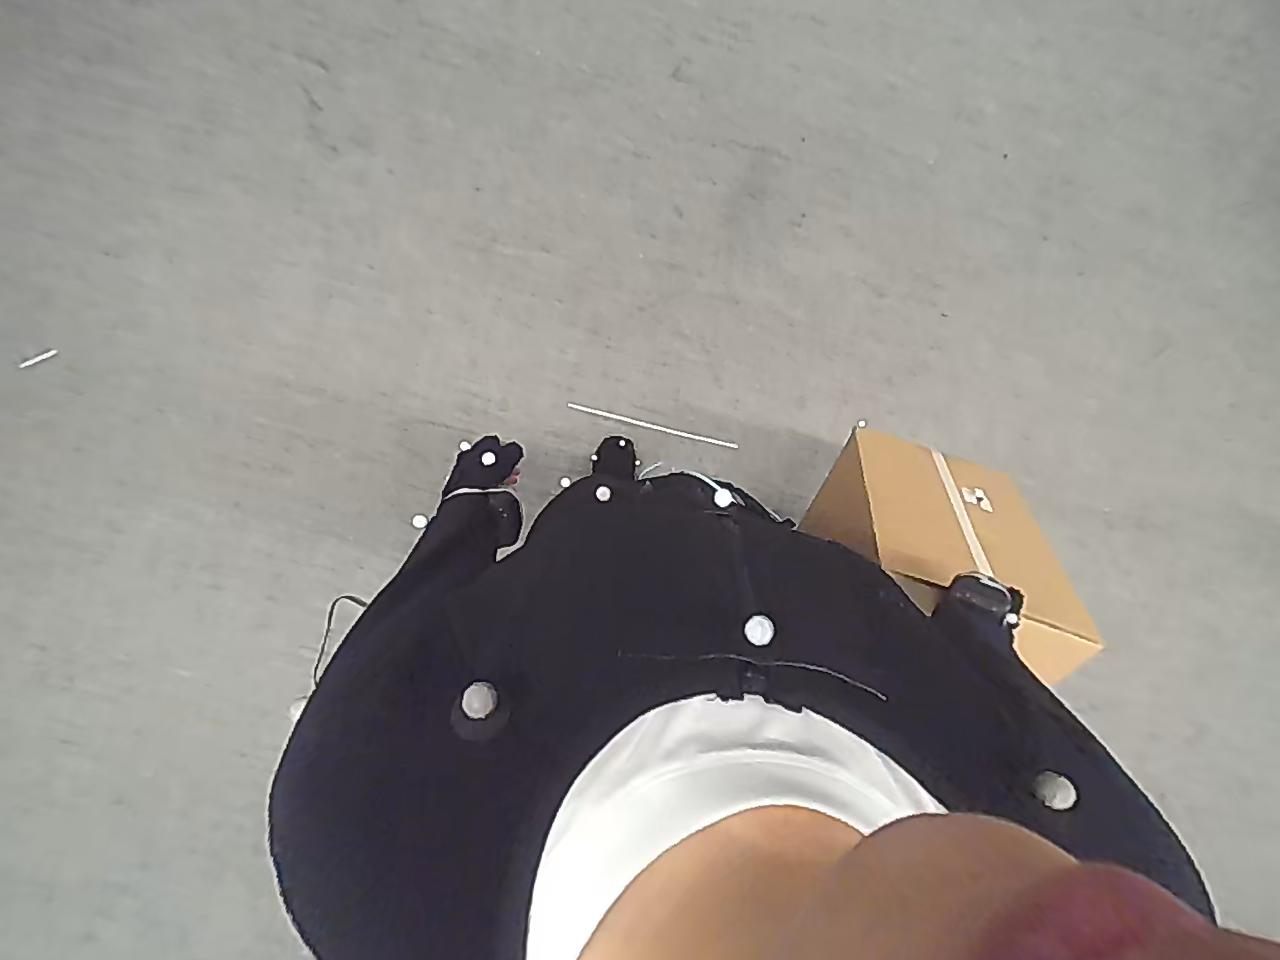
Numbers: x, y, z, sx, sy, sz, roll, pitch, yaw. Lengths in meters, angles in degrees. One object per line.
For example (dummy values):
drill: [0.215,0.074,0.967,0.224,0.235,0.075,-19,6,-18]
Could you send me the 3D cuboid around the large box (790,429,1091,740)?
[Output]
large box: [0.475,0.172,0.979,0.320,0.408,0.320,20,127,2]
